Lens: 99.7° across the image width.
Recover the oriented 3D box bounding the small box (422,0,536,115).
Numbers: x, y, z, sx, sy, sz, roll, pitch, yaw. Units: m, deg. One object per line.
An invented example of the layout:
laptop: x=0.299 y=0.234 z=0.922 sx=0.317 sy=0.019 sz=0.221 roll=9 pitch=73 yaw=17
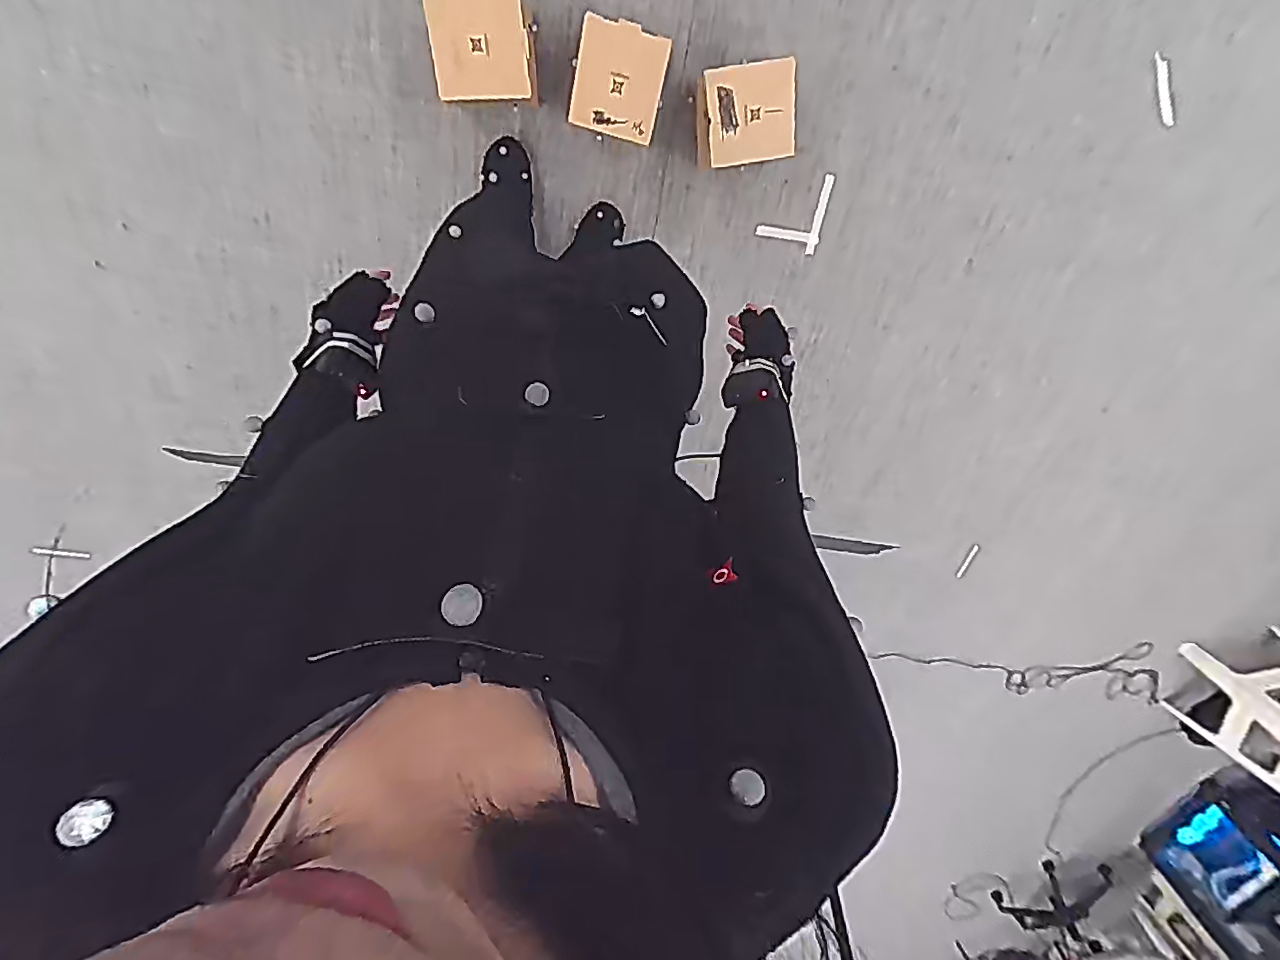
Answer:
small box: x=-0.301 y=-0.824 z=1.057 sx=0.179 sy=0.176 sz=0.168 roll=-3 pitch=118 yaw=-1

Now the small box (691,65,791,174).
small box: x=0.205 y=-0.747 z=1.136 sx=0.179 sy=0.176 sz=0.168 roll=-9 pitch=120 yaw=0

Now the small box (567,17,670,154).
small box: x=-0.050 y=-0.785 z=1.097 sx=0.168 sy=0.176 sz=0.179 roll=11 pitch=117 yaw=-11
